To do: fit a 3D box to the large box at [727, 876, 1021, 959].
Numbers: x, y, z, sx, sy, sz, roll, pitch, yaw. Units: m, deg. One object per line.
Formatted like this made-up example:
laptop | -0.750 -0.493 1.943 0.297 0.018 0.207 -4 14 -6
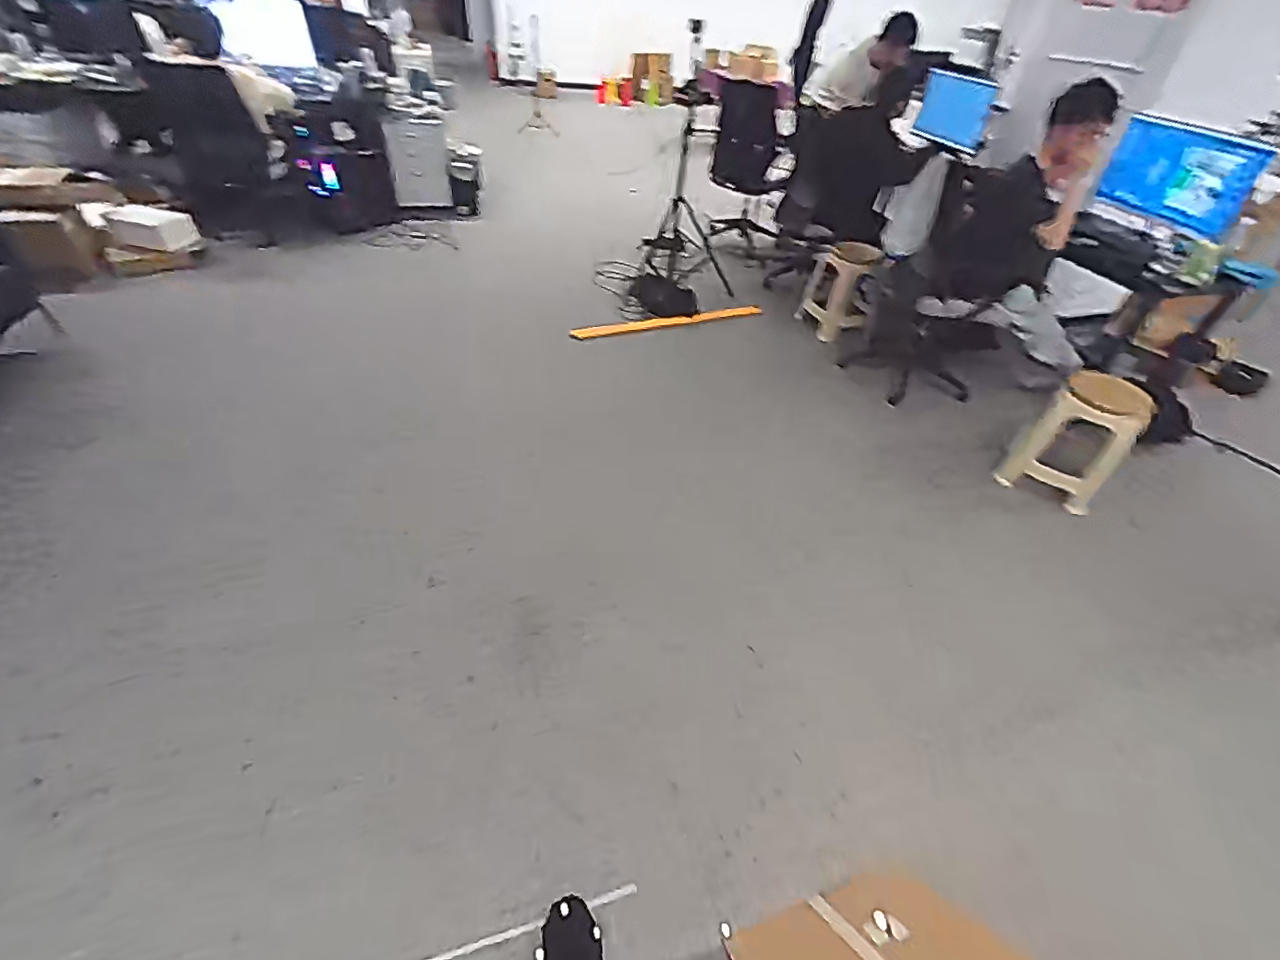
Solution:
large box | 0.350 0.773 0.643 0.320 0.408 0.320 -11 75 -13
